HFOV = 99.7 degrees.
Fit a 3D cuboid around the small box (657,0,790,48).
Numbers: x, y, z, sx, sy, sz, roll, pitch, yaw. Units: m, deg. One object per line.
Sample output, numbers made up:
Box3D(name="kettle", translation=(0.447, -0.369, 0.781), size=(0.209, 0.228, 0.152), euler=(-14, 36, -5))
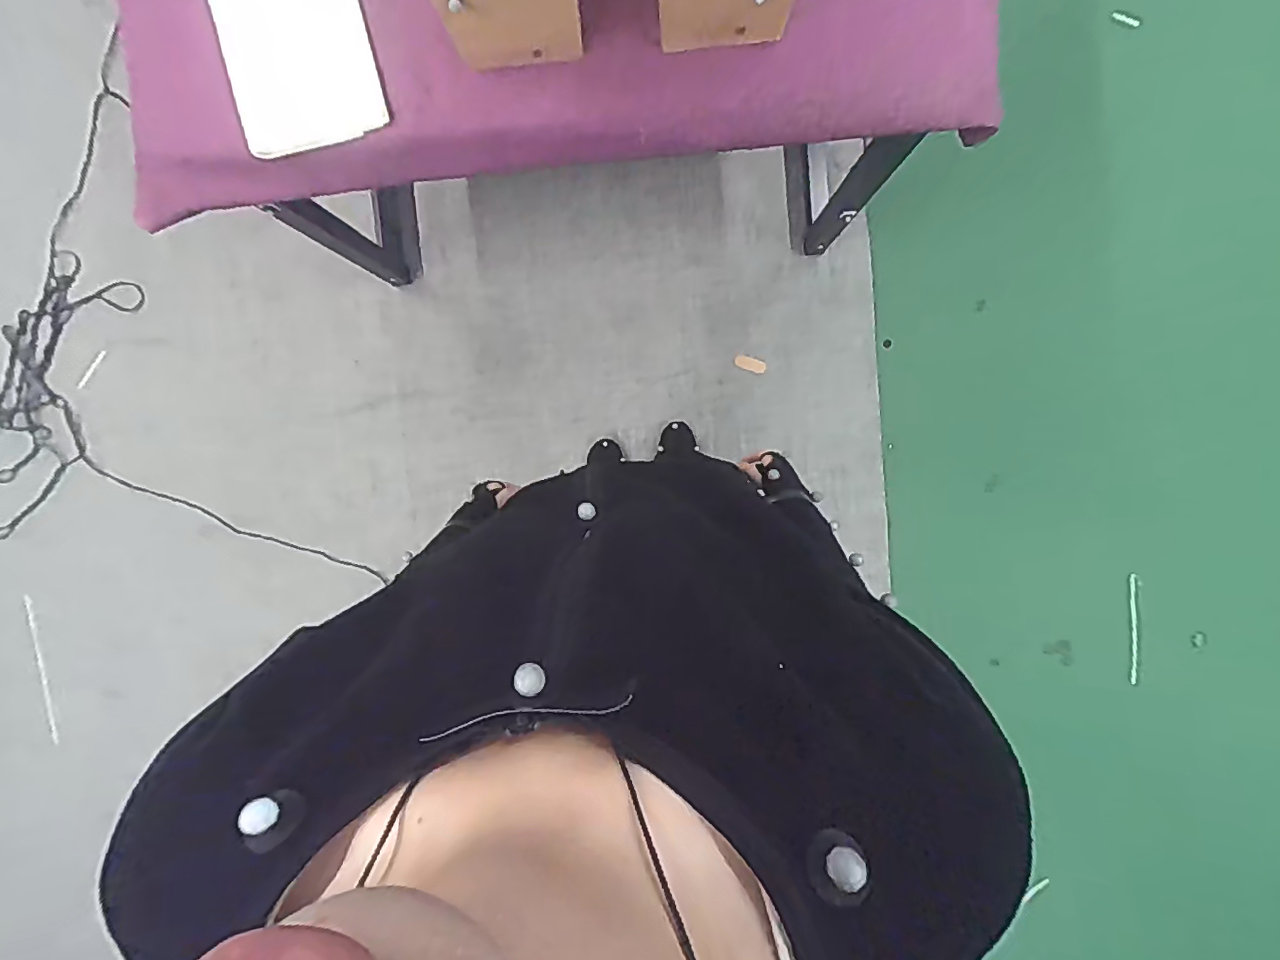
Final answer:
Box3D(name="small box", translation=(0.104, -0.671, 0.661), size=(0.168, 0.176, 0.179), euler=(-3, 92, 1))
